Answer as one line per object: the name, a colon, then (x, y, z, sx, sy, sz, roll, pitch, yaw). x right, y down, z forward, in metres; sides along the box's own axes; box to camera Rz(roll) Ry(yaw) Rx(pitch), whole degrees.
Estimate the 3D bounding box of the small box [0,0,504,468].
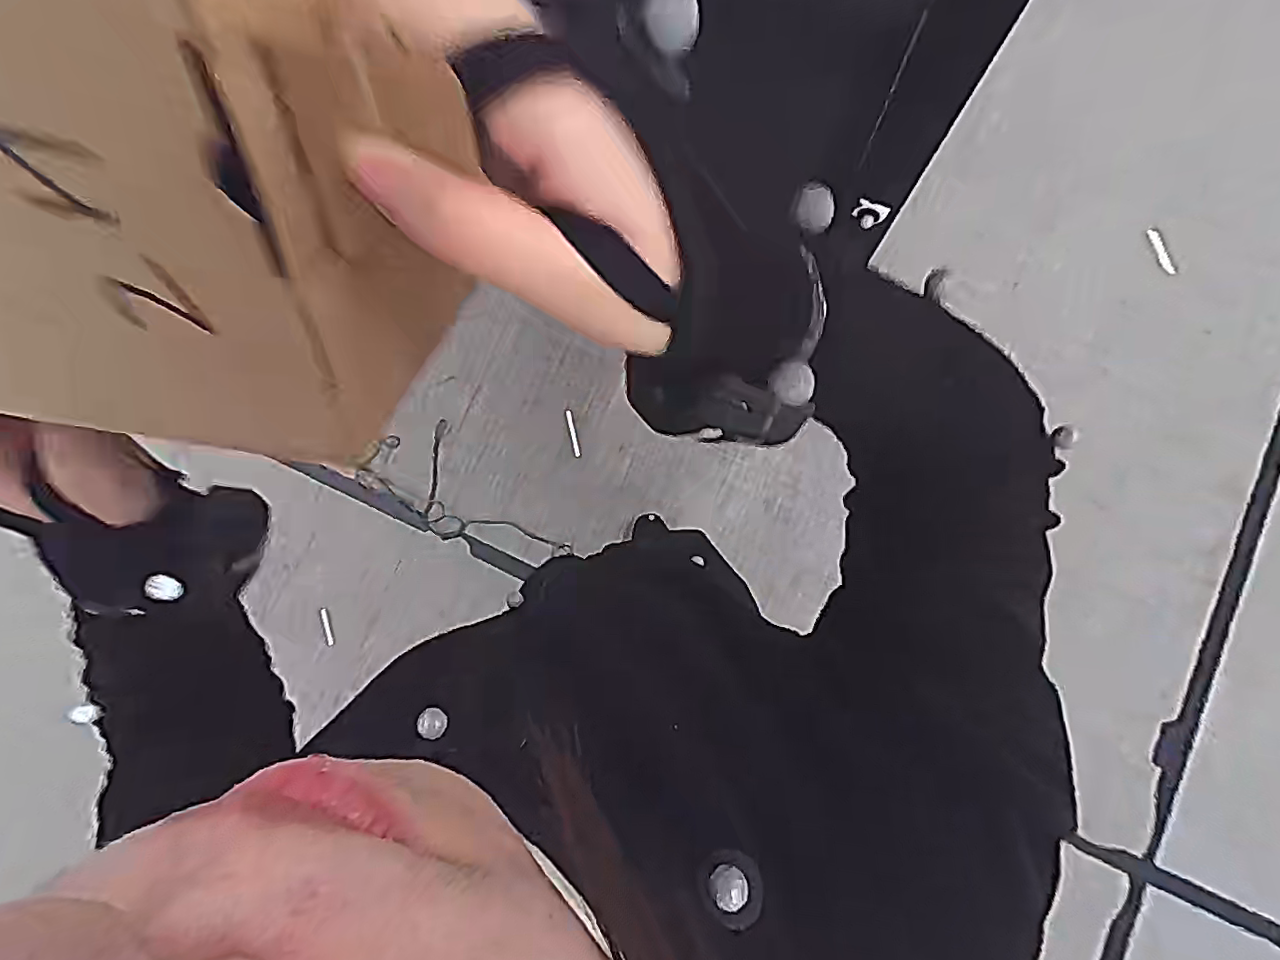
small box: (-0.150, -0.132, 0.149, 0.179, 0.168, 0.176, 11, 48, -1)
